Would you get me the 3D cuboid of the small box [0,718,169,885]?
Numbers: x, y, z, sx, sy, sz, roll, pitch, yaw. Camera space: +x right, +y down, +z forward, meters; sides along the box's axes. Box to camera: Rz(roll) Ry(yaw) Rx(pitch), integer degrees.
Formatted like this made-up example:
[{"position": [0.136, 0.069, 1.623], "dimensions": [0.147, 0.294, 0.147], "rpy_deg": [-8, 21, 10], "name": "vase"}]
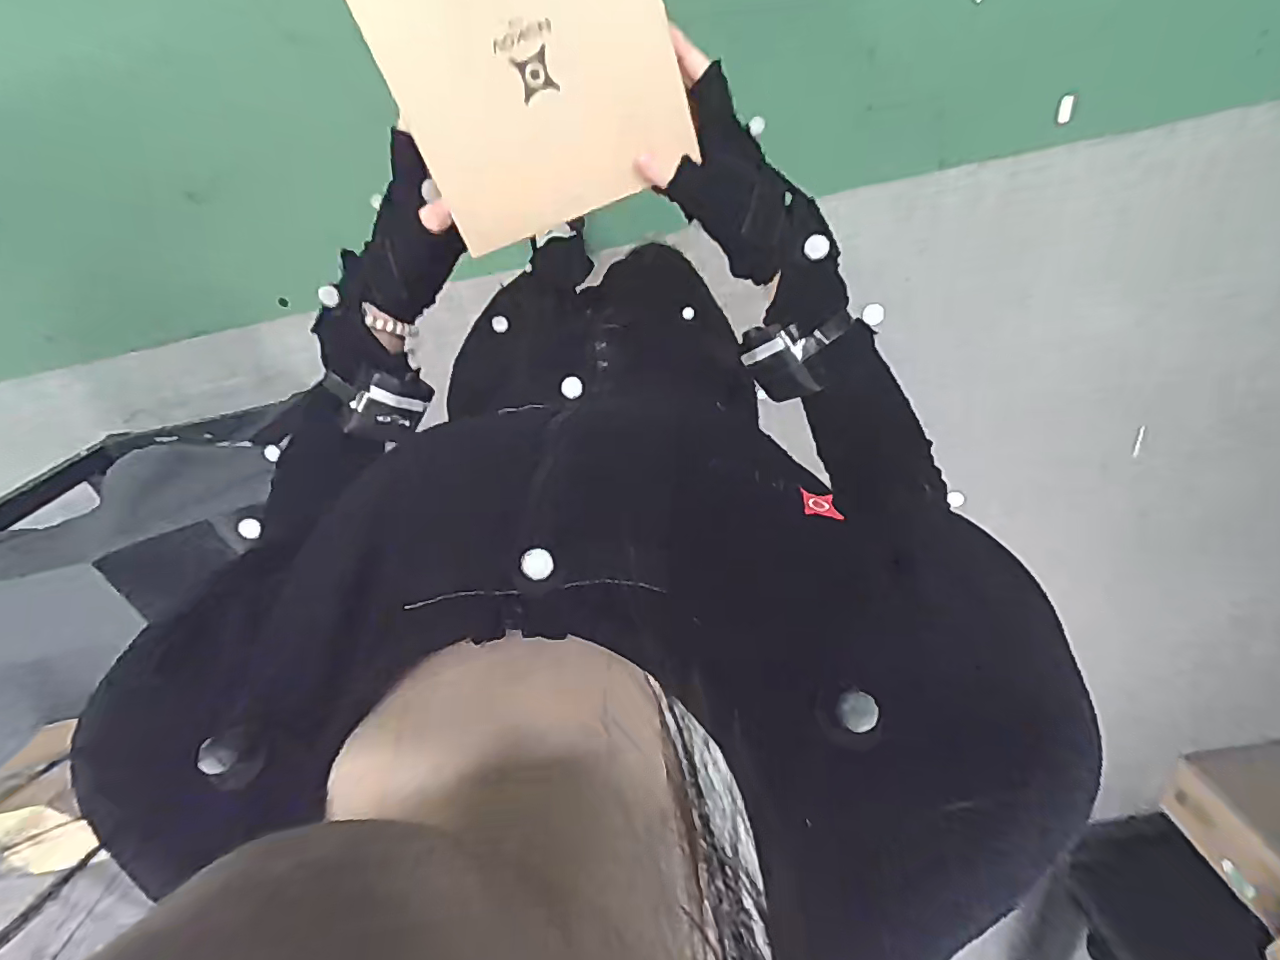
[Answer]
[{"position": [-0.939, 0.522, 0.892], "dimensions": [0.179, 0.176, 0.168], "rpy_deg": [-14, 121, 2], "name": "small box"}]
